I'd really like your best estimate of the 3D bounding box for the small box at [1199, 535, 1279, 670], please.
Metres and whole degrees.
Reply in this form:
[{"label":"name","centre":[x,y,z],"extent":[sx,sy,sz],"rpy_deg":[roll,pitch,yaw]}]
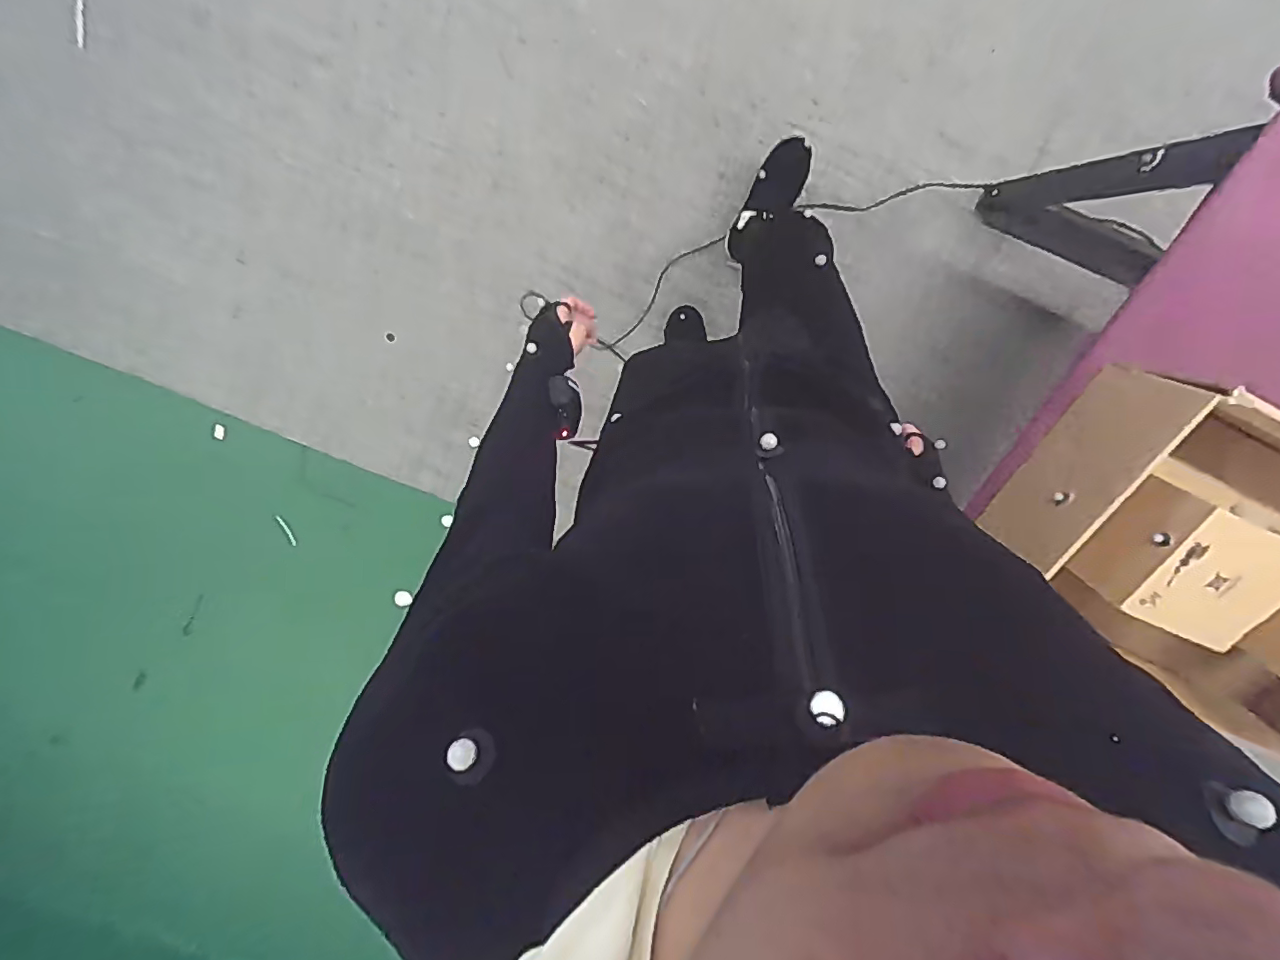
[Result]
[{"label":"small box","centre":[0.996,0.202,0.772],"extent":[0.179,0.176,0.168],"rpy_deg":[22,113,-3]}]
